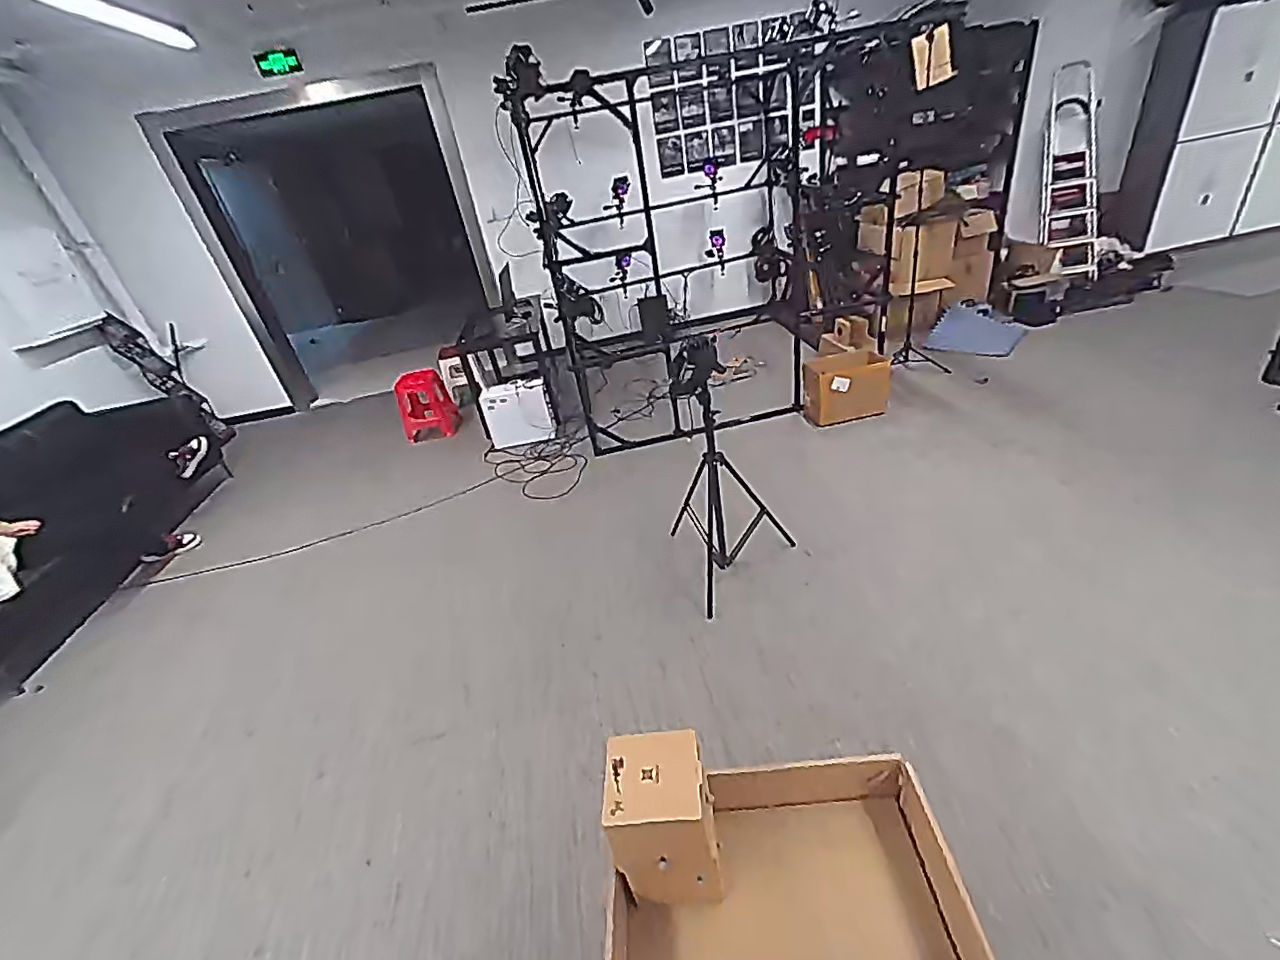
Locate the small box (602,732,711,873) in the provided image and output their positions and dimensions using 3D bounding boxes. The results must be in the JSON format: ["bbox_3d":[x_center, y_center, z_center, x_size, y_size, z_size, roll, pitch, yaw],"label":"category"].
[{"bbox_3d":[0.037,0.595,0.999,0.179,0.176,0.168,-7,30,6],"label":"small box"}]
